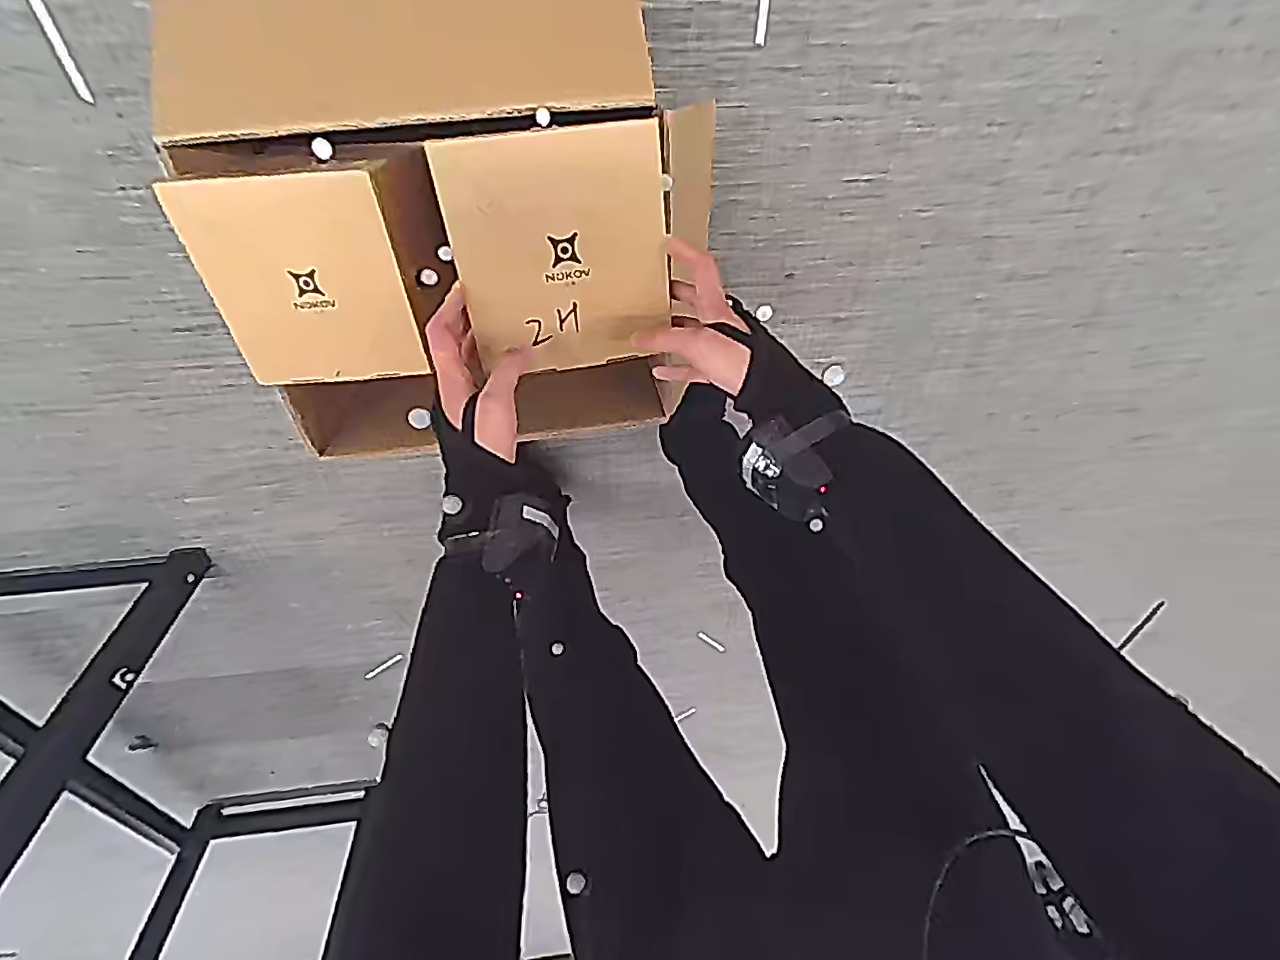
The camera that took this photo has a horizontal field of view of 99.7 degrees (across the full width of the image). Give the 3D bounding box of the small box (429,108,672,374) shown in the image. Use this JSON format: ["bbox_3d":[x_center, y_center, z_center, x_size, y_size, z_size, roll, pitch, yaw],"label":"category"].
[{"bbox_3d":[-0.074,-0.216,0.481,0.168,0.176,0.179,-10,125,-7],"label":"small box"}]
